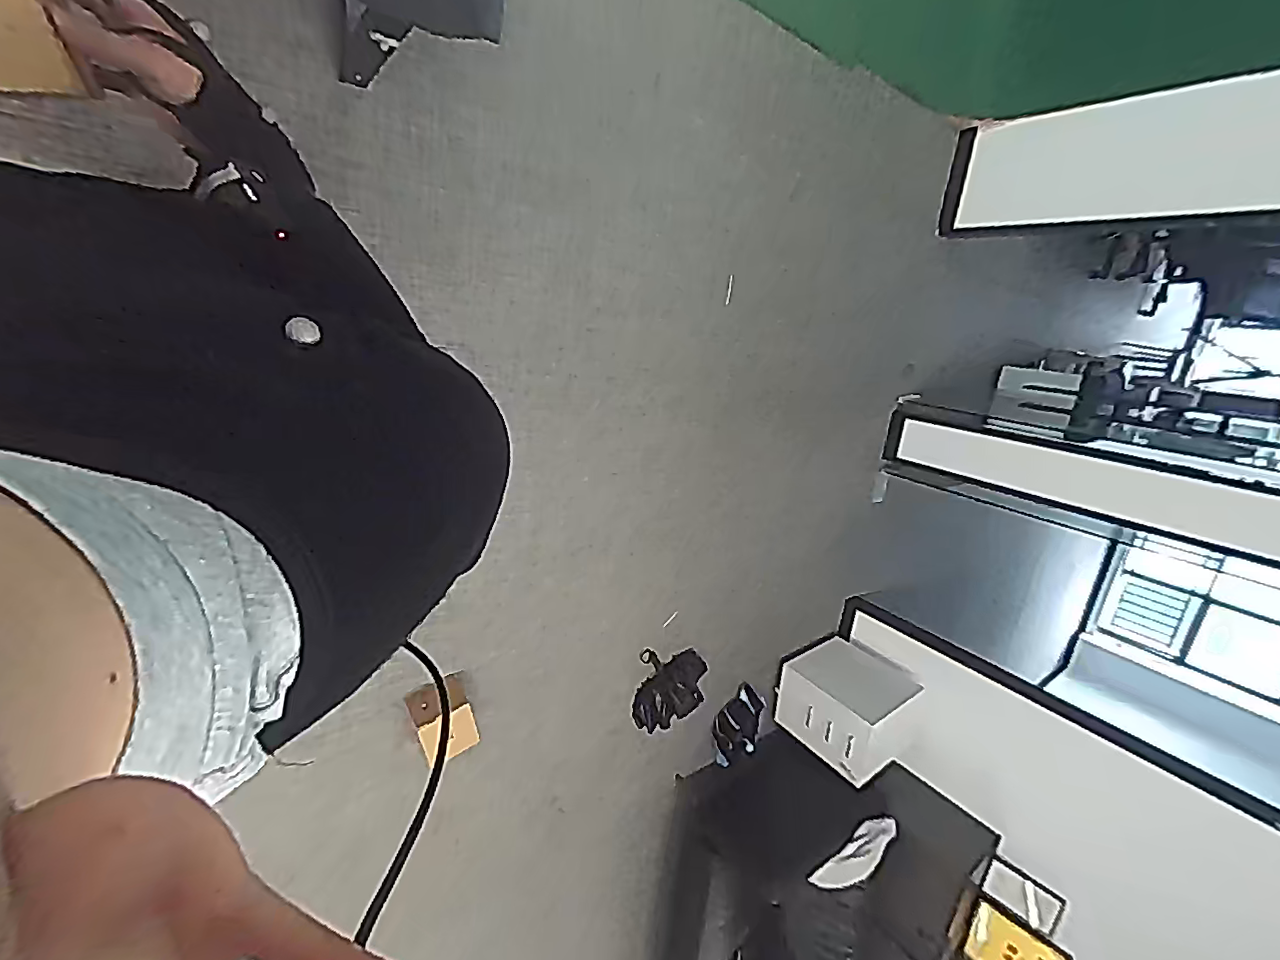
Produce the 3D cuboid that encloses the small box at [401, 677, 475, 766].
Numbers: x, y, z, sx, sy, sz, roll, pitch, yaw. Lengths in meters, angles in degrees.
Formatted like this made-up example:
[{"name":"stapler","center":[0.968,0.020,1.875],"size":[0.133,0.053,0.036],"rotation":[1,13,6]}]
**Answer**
[{"name":"small box","center":[-0.661,0.774,1.762],"size":[0.168,0.176,0.179],"rotation":[-21,121,-29]}]
